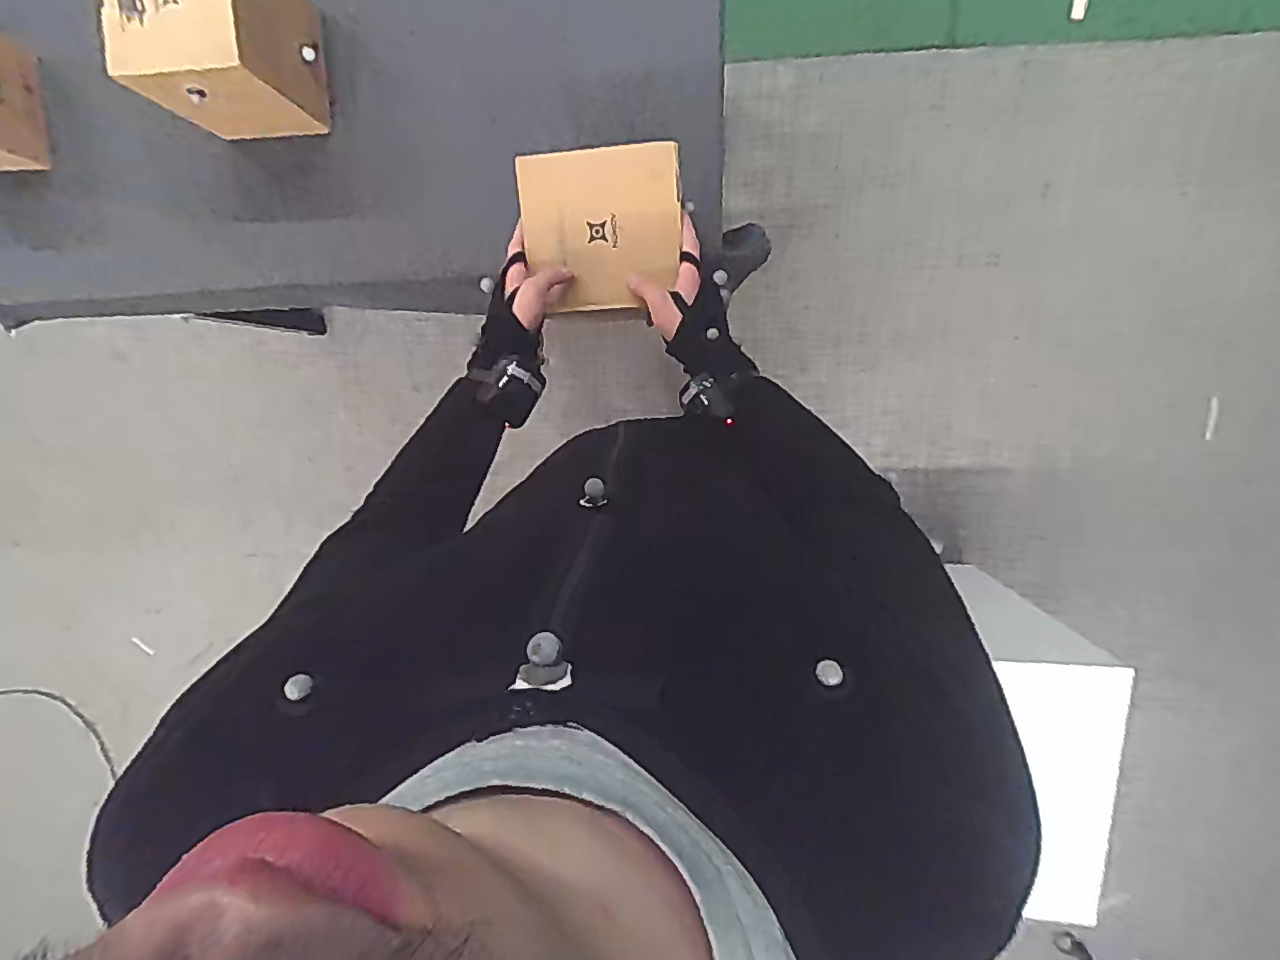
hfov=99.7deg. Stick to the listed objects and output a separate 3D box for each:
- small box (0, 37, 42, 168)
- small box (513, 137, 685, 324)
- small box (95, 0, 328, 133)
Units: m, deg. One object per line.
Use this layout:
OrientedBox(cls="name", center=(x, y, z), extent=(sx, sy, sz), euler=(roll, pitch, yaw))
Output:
OrientedBox(cls="small box", center=(-1.011, -0.561, 0.763), extent=(0.179, 0.176, 0.168), euler=(2, 99, 6))
OrientedBox(cls="small box", center=(-0.036, -0.286, 0.657), extent=(0.179, 0.176, 0.168), euler=(-3, 101, 8))
OrientedBox(cls="small box", center=(-0.548, -0.578, 0.705), extent=(0.179, 0.176, 0.168), euler=(1, 100, 6))
